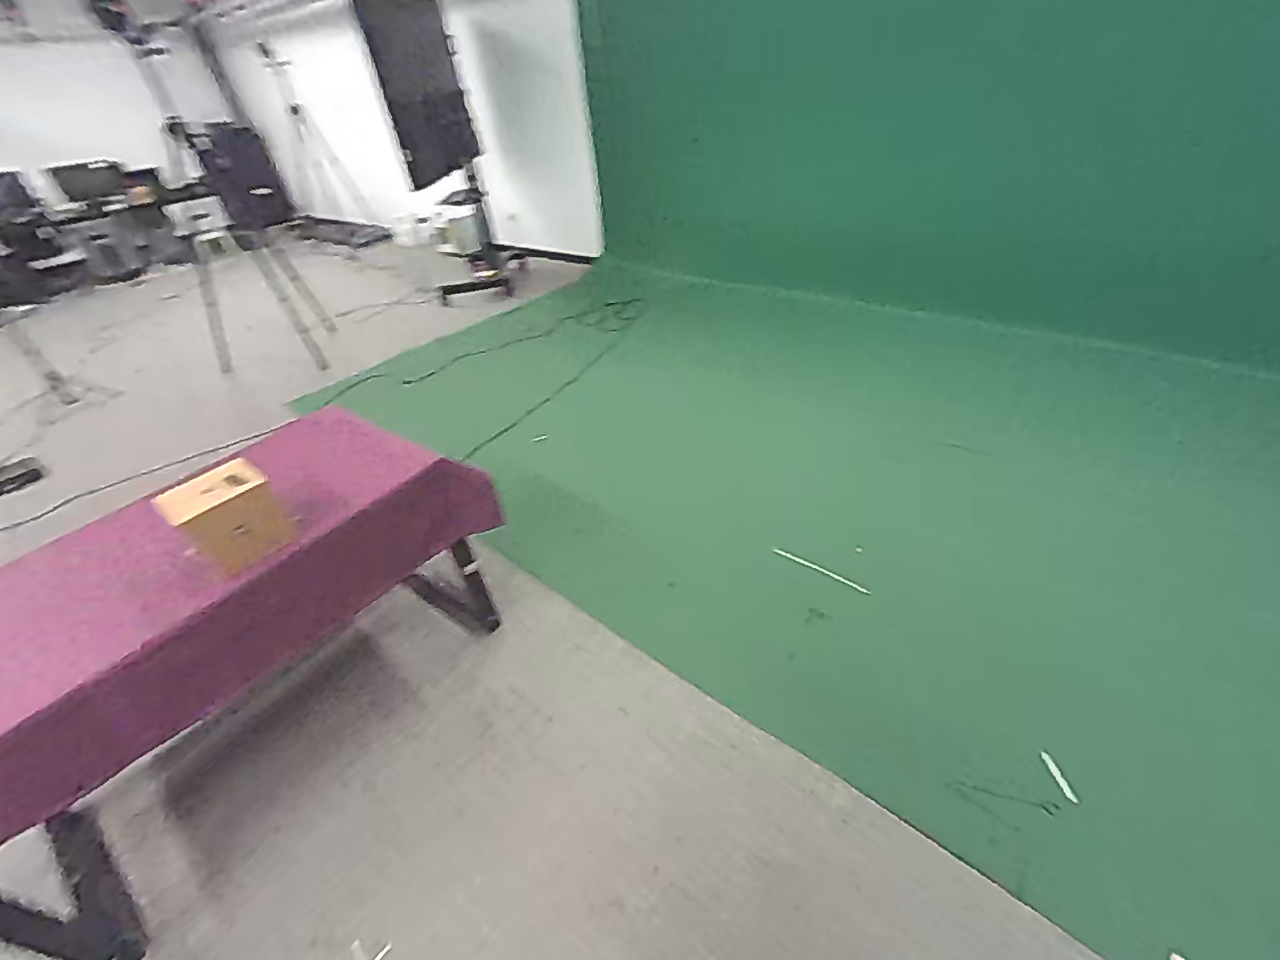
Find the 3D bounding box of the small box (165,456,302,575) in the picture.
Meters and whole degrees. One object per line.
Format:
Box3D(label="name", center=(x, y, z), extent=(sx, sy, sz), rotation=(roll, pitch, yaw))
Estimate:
Box3D(label="small box", center=(-0.903, 0.079, 1.219), extent=(0.168, 0.176, 0.179), rotation=(23, 48, 34))
